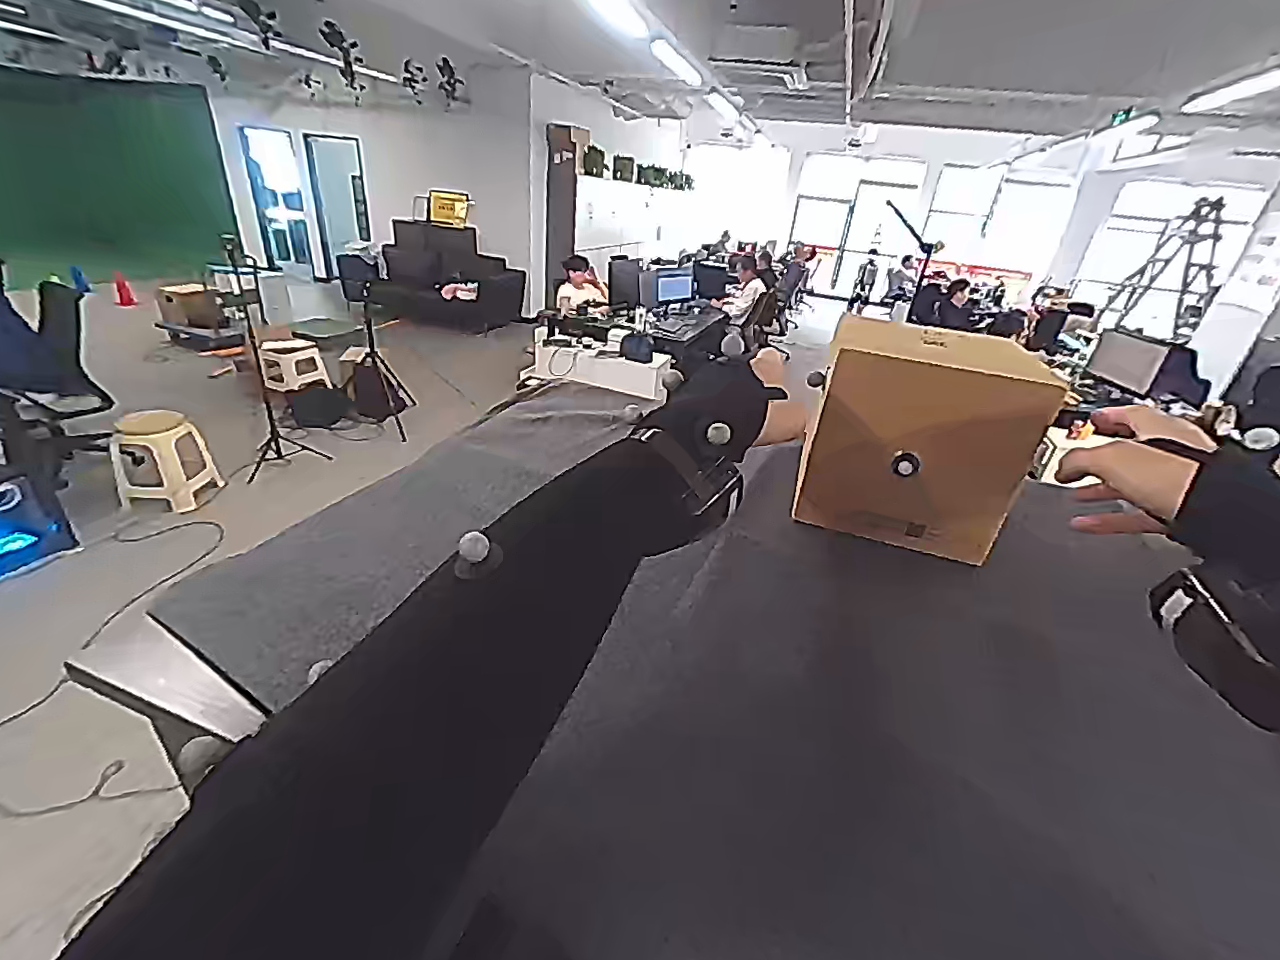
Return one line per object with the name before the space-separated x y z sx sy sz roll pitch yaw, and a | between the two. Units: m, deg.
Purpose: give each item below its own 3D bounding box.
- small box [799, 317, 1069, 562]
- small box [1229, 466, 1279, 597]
small box | 0.256 -0.046 0.519 0.168 0.176 0.179 14 29 14
small box | 0.647 0.048 0.425 0.168 0.176 0.179 18 29 19
